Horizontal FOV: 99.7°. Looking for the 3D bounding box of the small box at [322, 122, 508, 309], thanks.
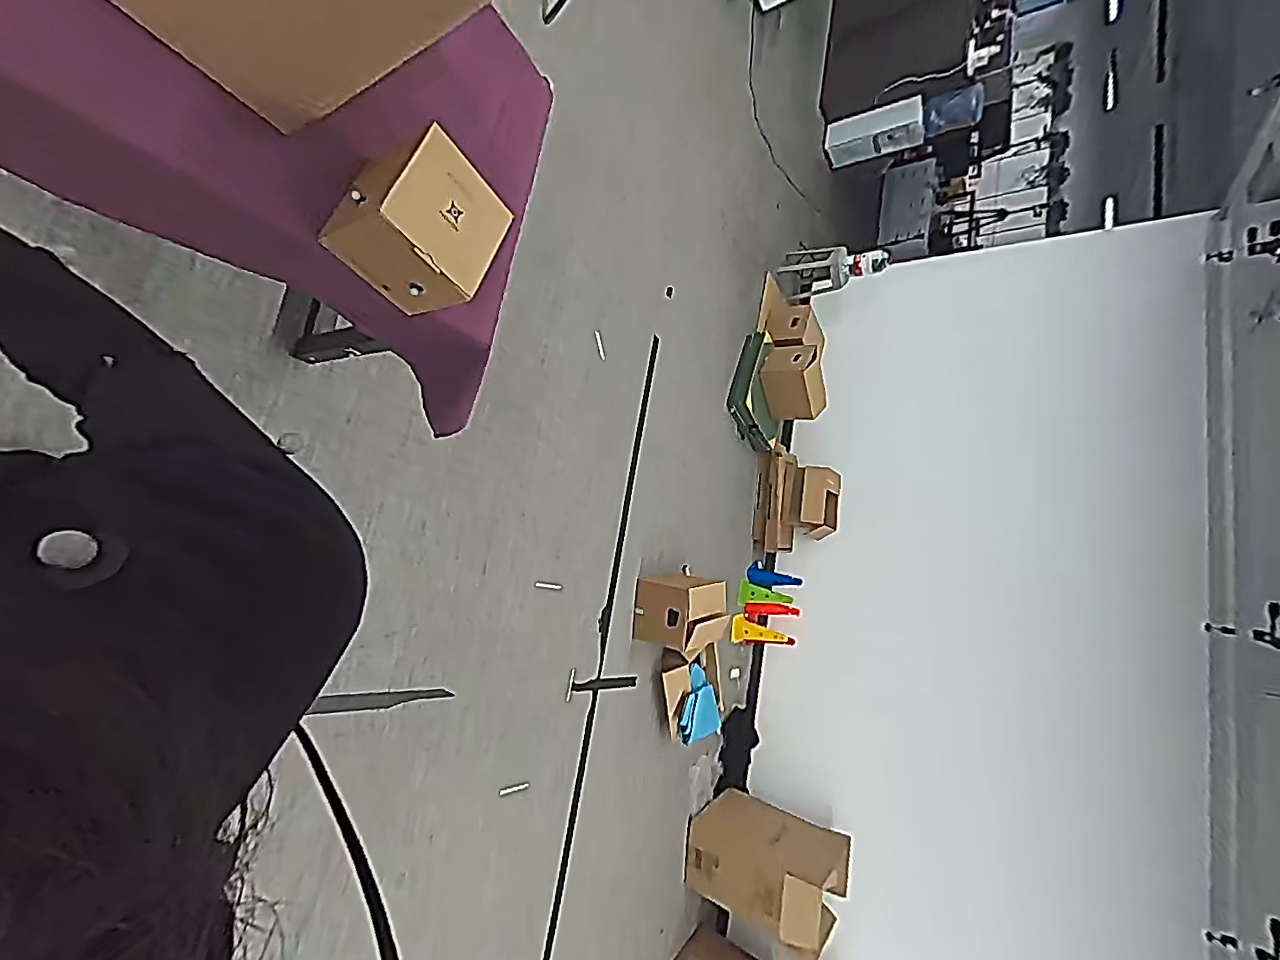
[{"bbox_3d":[-0.339,-0.384,0.816,0.168,0.176,0.179,43,56,-49],"label":"small box"}]
